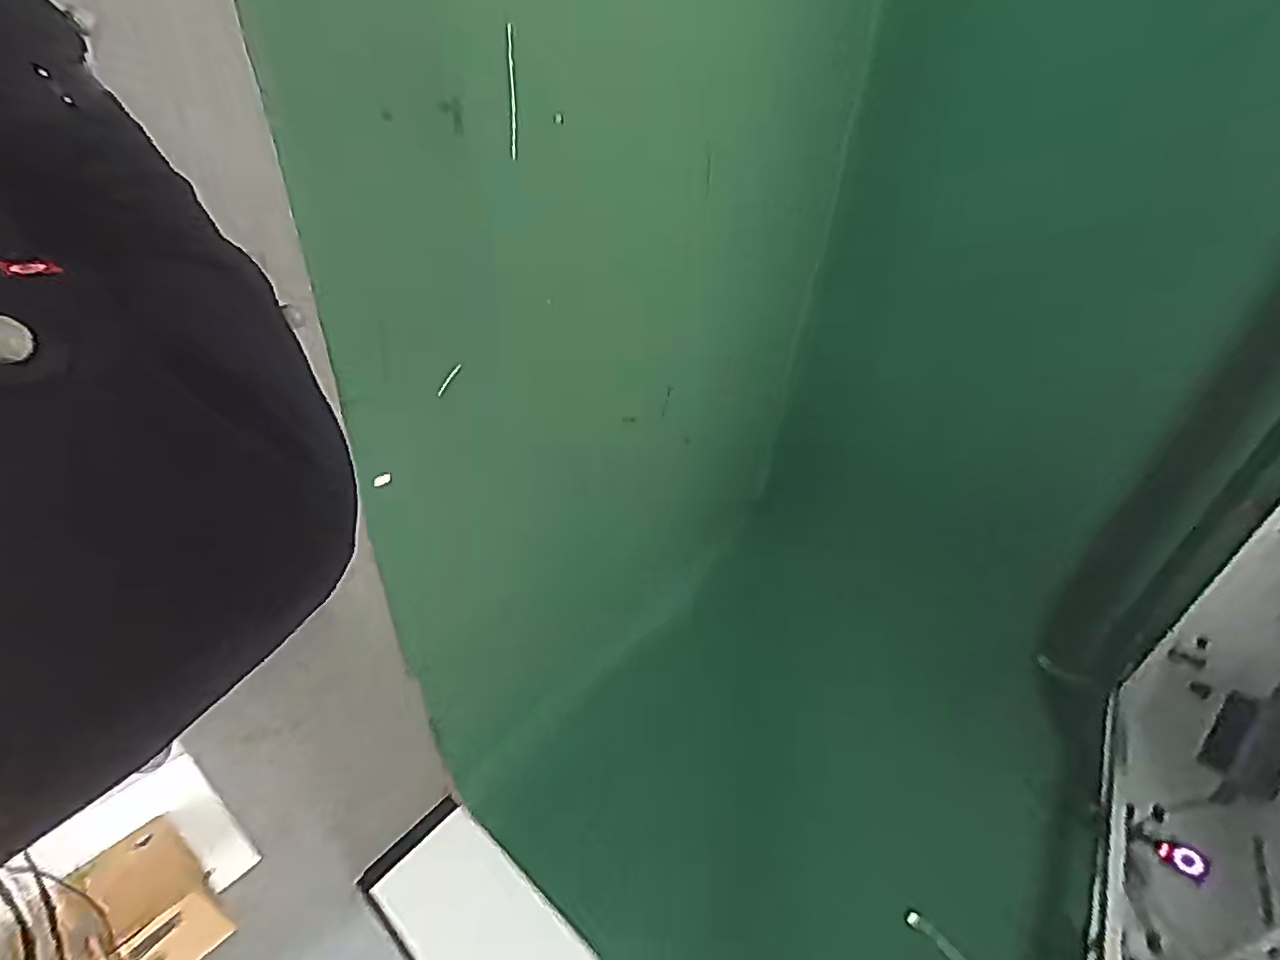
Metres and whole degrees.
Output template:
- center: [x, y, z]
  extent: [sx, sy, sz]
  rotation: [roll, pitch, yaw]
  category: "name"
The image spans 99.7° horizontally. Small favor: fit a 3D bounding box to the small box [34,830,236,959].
- center: [-0.789, 0.700, 0.850]
  extent: [0.168, 0.176, 0.179]
  rotation: [-32, 137, -41]
  category: "small box"
